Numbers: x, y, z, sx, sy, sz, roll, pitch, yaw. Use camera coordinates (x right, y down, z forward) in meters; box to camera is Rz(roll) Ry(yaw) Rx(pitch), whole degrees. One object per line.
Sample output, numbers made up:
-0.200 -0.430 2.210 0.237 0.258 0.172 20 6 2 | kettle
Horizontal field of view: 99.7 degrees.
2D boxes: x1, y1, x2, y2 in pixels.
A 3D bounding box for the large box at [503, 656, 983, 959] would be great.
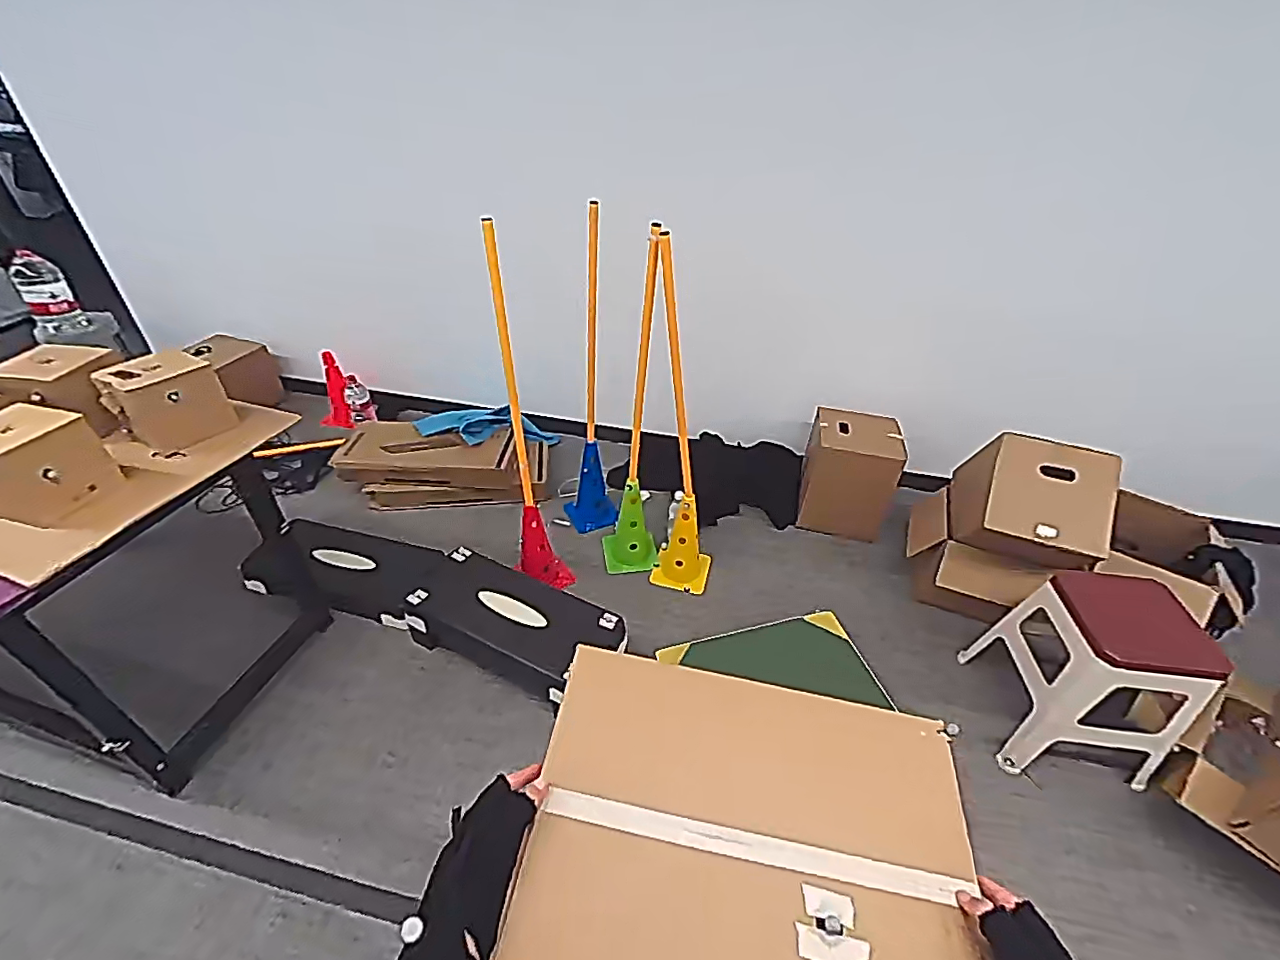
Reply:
0.091 0.444 0.606 0.408 0.320 0.320 11 46 4 | large box
